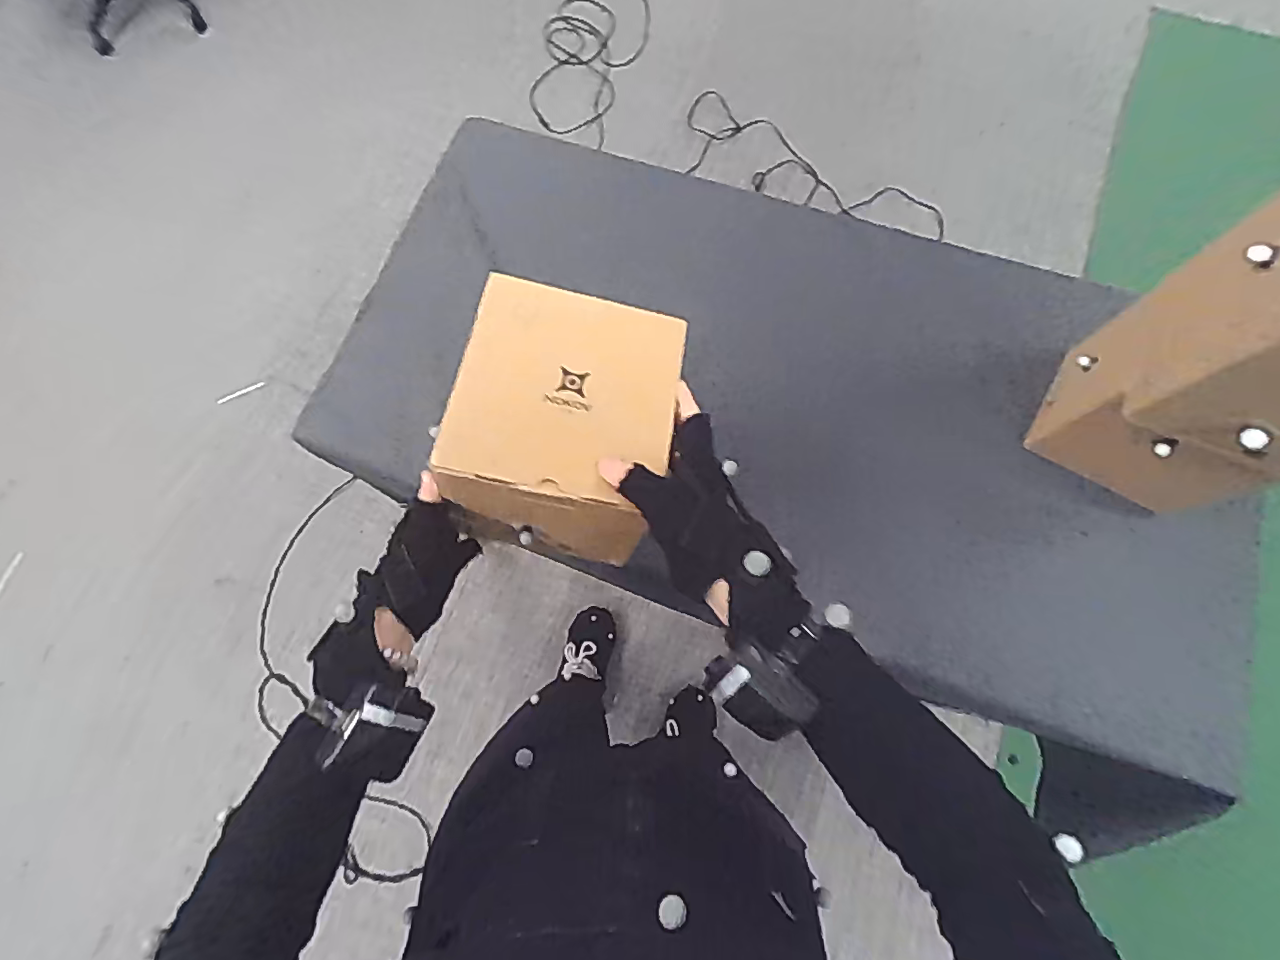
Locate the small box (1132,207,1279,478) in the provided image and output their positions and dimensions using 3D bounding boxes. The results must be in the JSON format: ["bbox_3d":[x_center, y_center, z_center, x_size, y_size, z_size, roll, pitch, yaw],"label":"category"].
[{"bbox_3d":[0.579,-0.126,0.458,0.168,0.176,0.179,25,77,11],"label":"small box"}]

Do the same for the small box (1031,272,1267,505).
[{"bbox_3d":[0.603,-0.091,0.617,0.179,0.176,0.168,31,78,11],"label":"small box"}]
